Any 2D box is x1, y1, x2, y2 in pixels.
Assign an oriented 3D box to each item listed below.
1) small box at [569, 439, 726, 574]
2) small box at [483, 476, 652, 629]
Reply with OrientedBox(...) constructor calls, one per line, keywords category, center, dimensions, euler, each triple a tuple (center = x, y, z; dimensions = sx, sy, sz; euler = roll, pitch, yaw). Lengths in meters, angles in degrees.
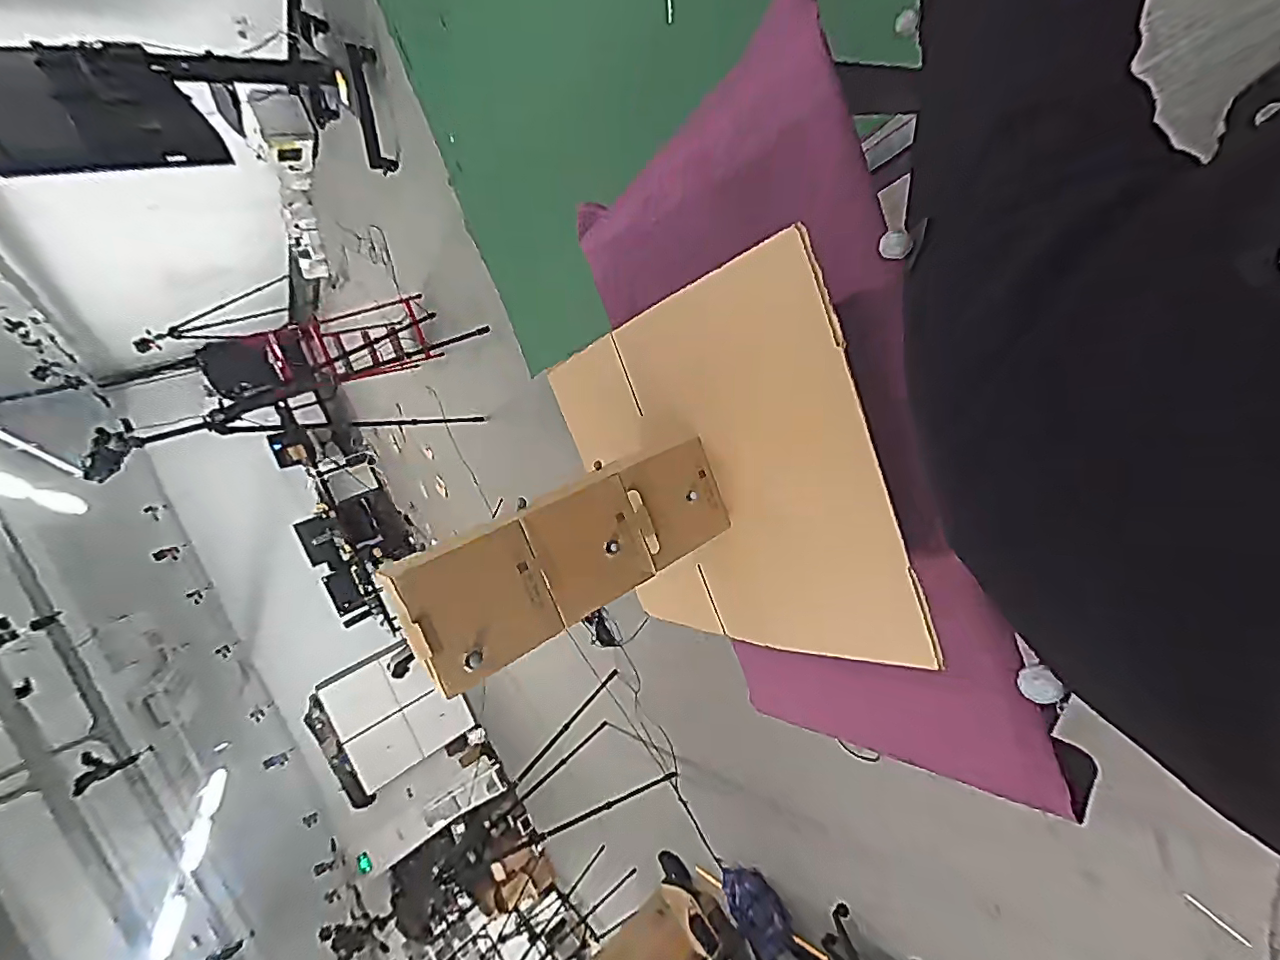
OrientedBox(category="small box", center=(0.013, 0.041, 0.913), dimensions=(0.179, 0.176, 0.168), euler=(-8, 106, 56))
OrientedBox(category="small box", center=(-0.110, 0.104, 0.826), dimensions=(0.179, 0.176, 0.168), euler=(-11, 103, 57))
